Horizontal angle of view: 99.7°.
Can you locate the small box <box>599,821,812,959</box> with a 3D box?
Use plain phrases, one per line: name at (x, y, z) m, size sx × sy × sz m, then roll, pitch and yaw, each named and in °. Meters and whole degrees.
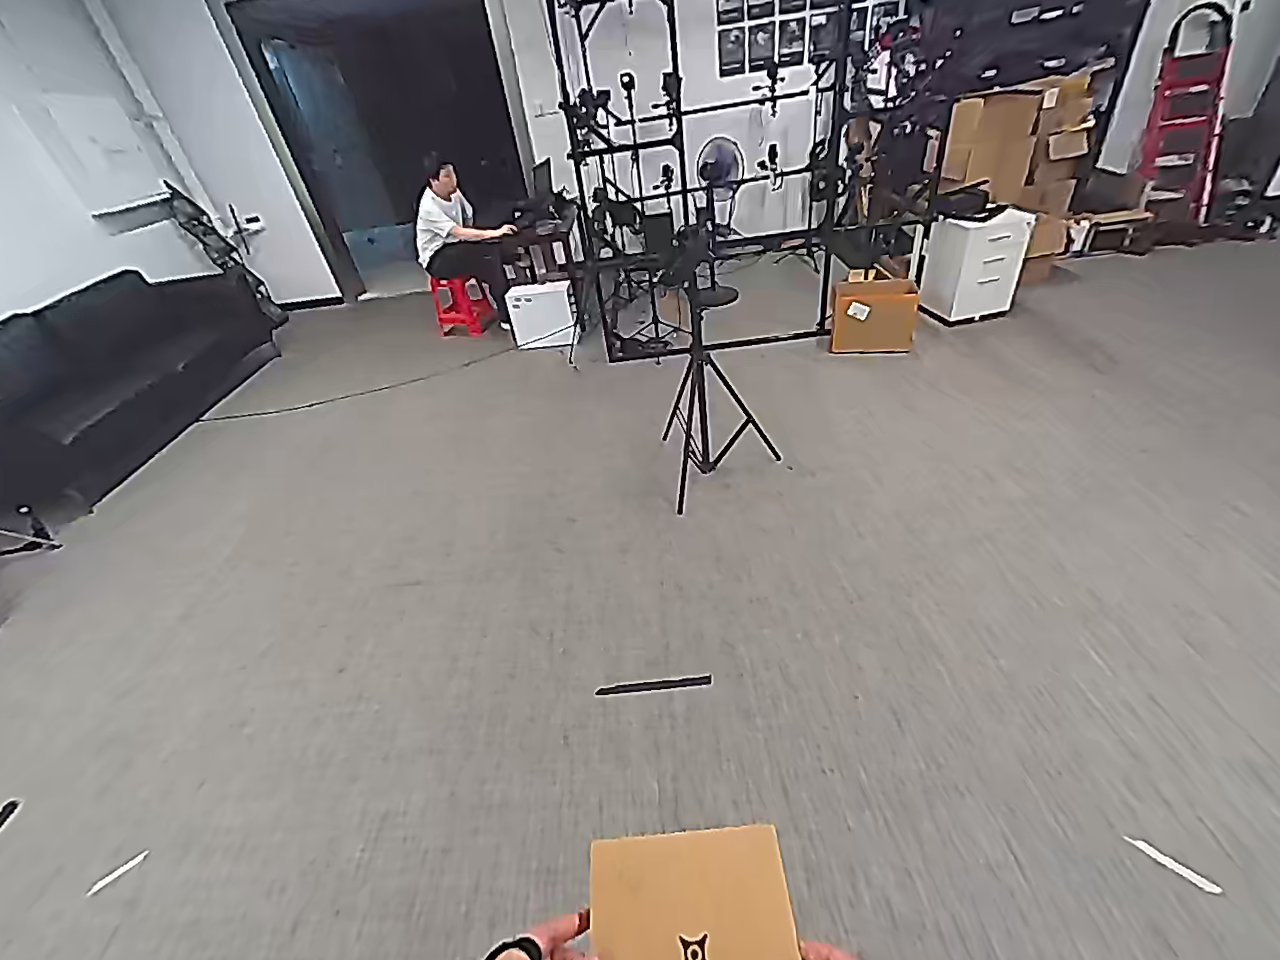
small box at (0.056, 0.423, 0.470) m, size 0.168 × 0.176 × 0.179 m, roll -7°, pitch 47°, yaw 1°
